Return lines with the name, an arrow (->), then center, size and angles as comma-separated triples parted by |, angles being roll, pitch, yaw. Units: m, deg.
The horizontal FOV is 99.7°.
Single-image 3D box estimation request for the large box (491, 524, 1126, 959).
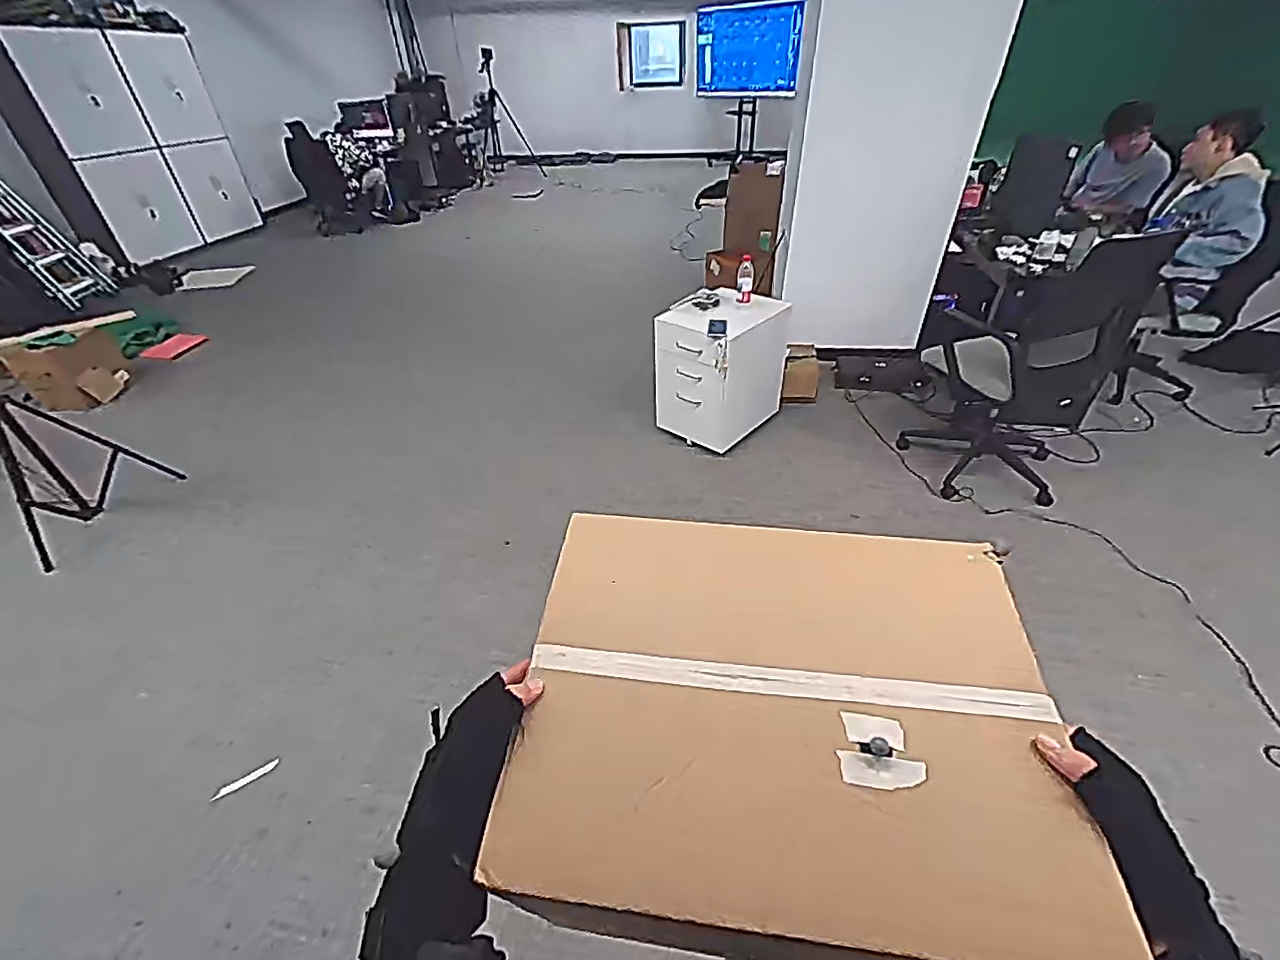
large box -> 0.115, 0.269, 0.548 | 0.408, 0.320, 0.320 | 4, 48, 7
